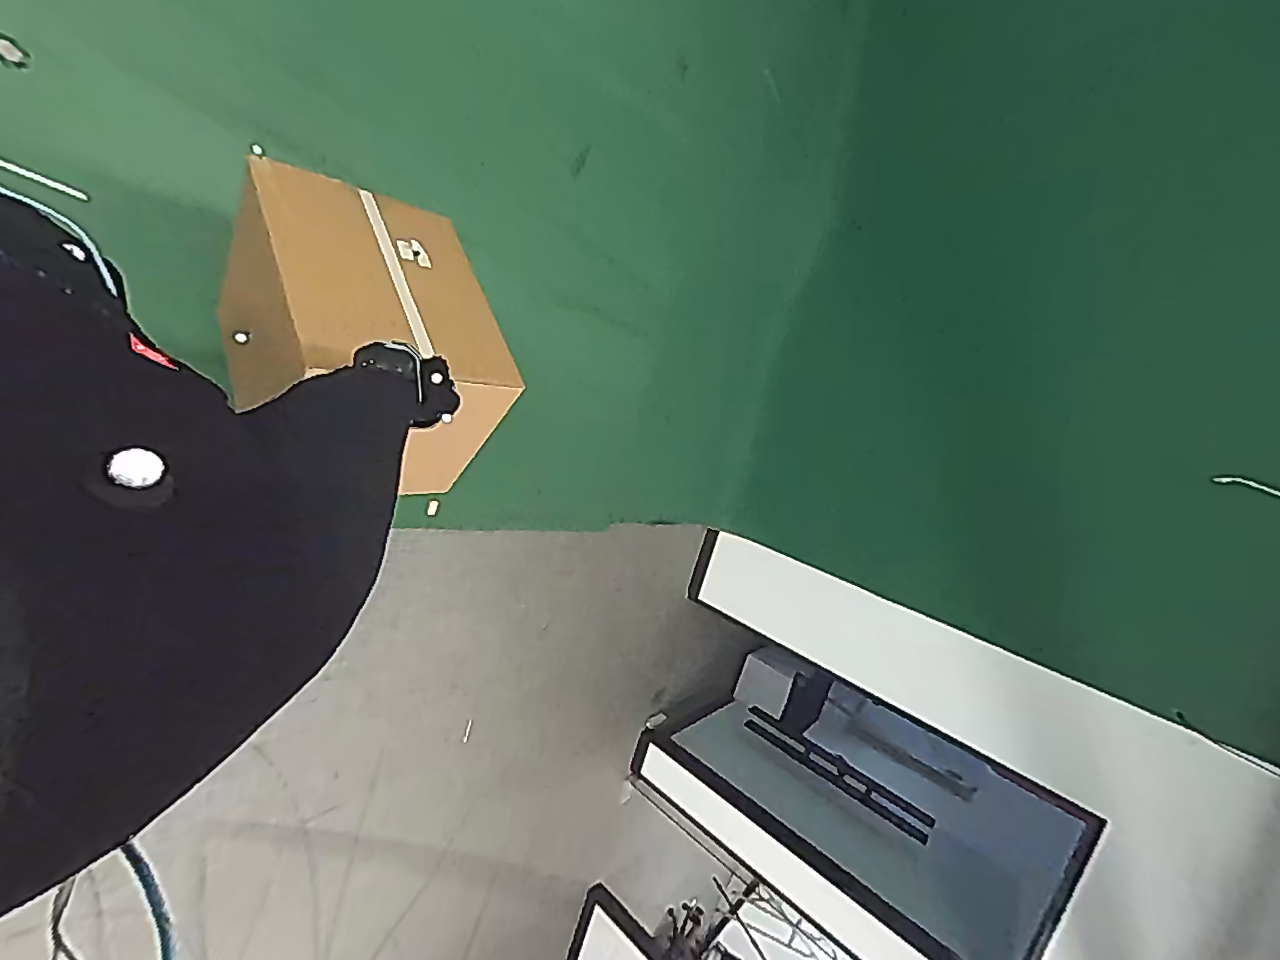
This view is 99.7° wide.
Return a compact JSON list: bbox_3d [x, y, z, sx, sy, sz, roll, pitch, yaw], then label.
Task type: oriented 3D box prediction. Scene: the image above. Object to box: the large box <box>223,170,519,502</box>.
[{"bbox_3d":[-0.472,-0.218,0.923,0.320,0.408,0.320,-3,148,-48],"label":"large box"}]
